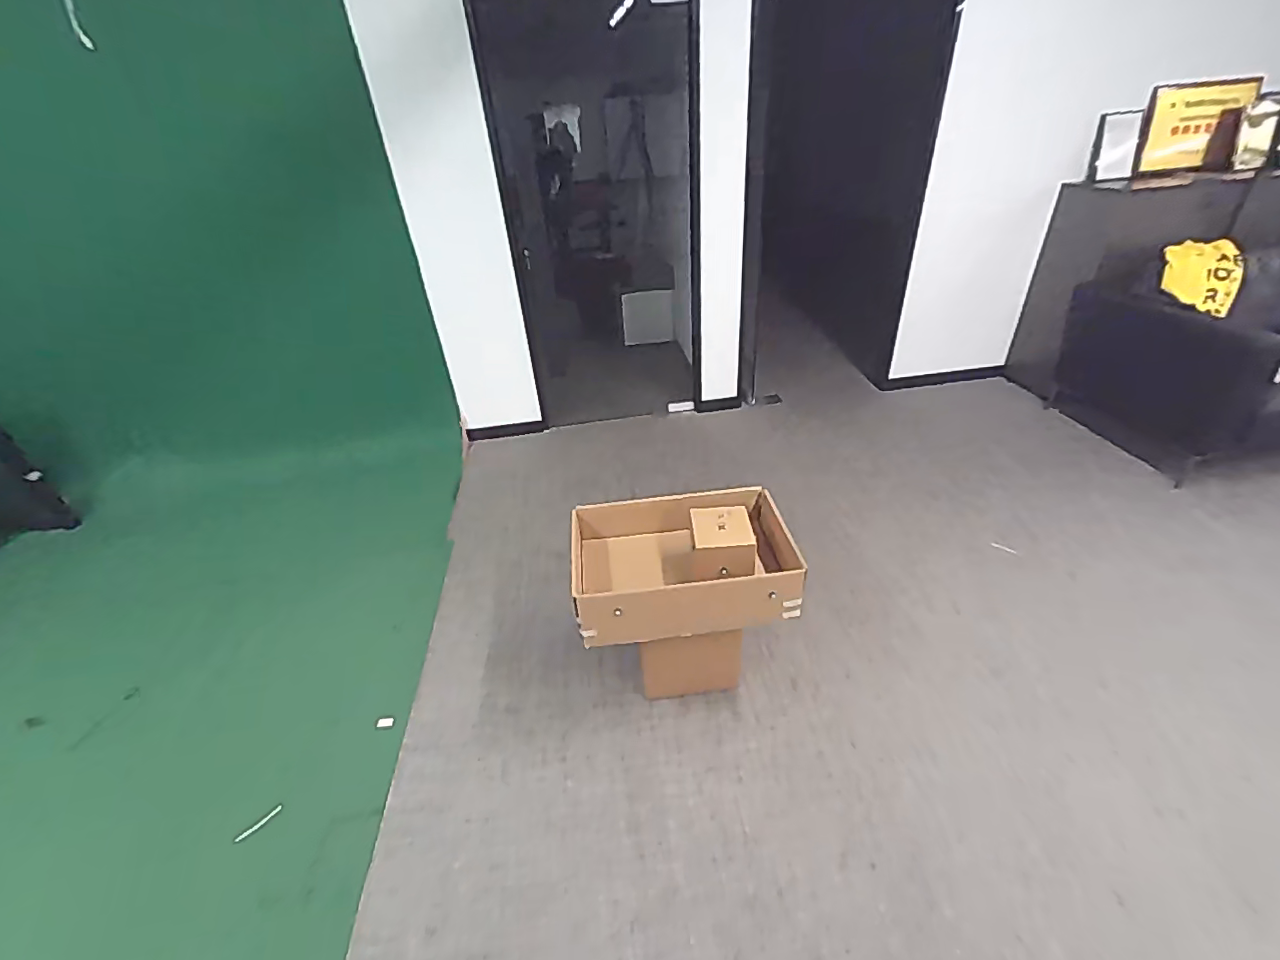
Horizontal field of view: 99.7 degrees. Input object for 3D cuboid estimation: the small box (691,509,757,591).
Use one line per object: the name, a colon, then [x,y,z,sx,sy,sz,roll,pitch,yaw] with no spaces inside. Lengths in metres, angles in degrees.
small box: [0.238,0.205,1.551,0.168,0.176,0.179,-3,33,2]
